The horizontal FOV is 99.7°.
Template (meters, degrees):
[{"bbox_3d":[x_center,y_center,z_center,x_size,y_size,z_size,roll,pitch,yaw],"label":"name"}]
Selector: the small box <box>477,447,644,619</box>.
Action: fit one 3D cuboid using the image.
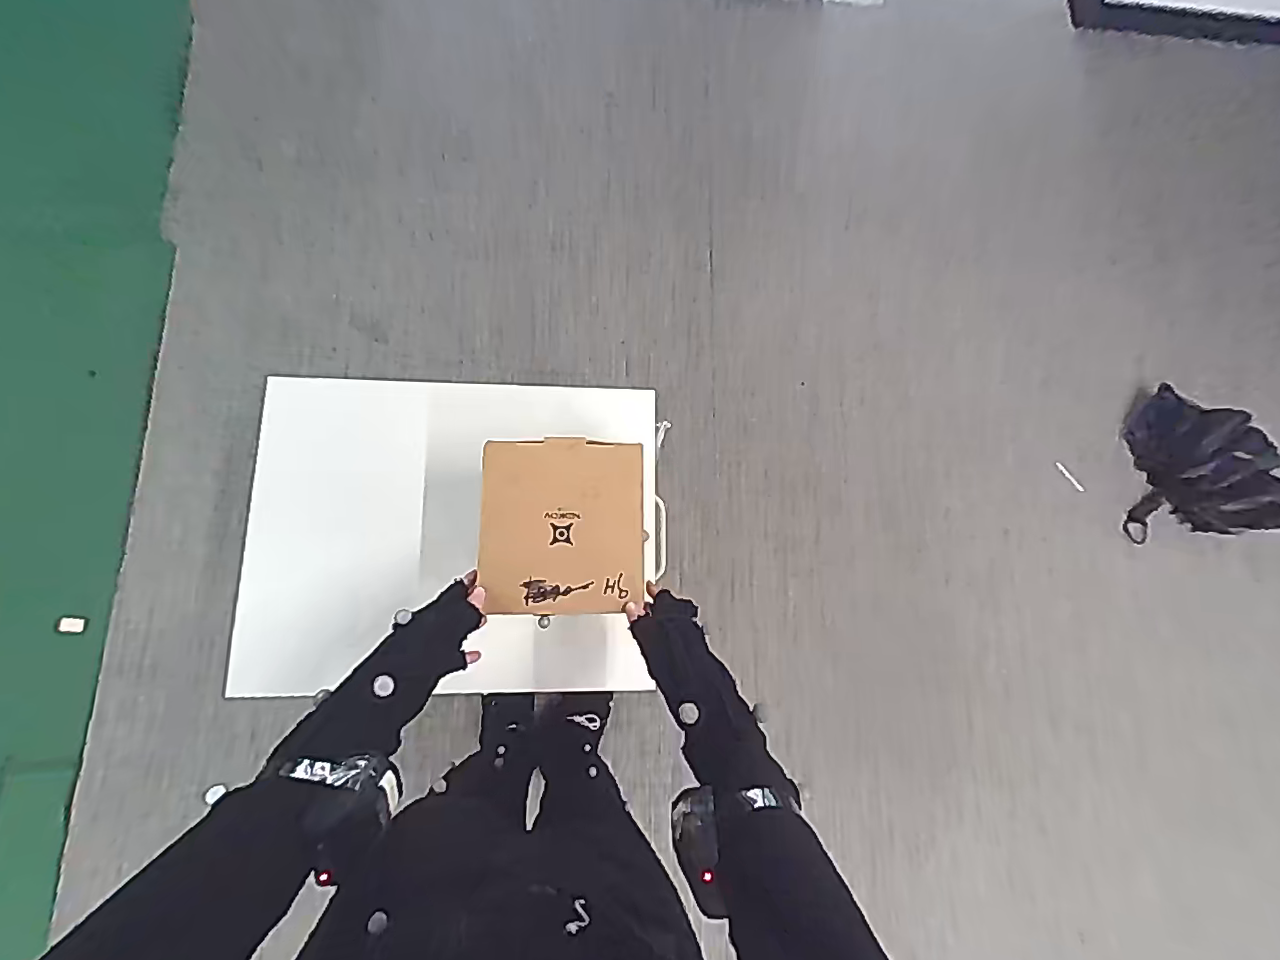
[{"bbox_3d":[-0.083,0.068,0.624,0.168,0.176,0.179,0,79,-3],"label":"small box"}]
